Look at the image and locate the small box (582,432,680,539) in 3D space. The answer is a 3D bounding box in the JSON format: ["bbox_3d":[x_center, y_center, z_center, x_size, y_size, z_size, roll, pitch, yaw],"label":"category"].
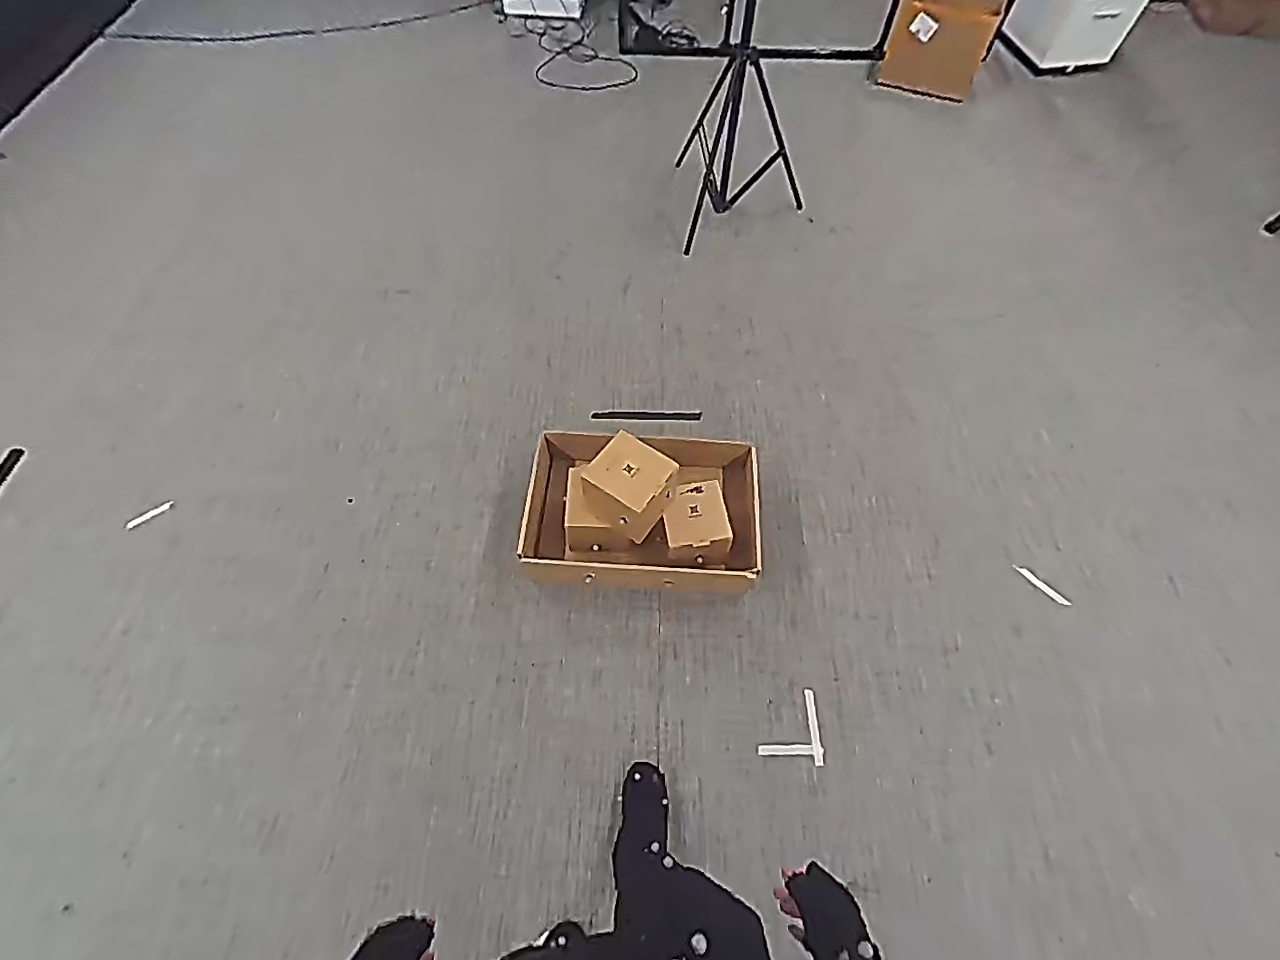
[{"bbox_3d":[-0.021,0.022,1.331,0.179,0.176,0.168,31,62,17],"label":"small box"}]

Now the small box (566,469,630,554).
[{"bbox_3d":[-0.108,0.087,1.479,0.168,0.176,0.179,1,61,-1],"label":"small box"}]
